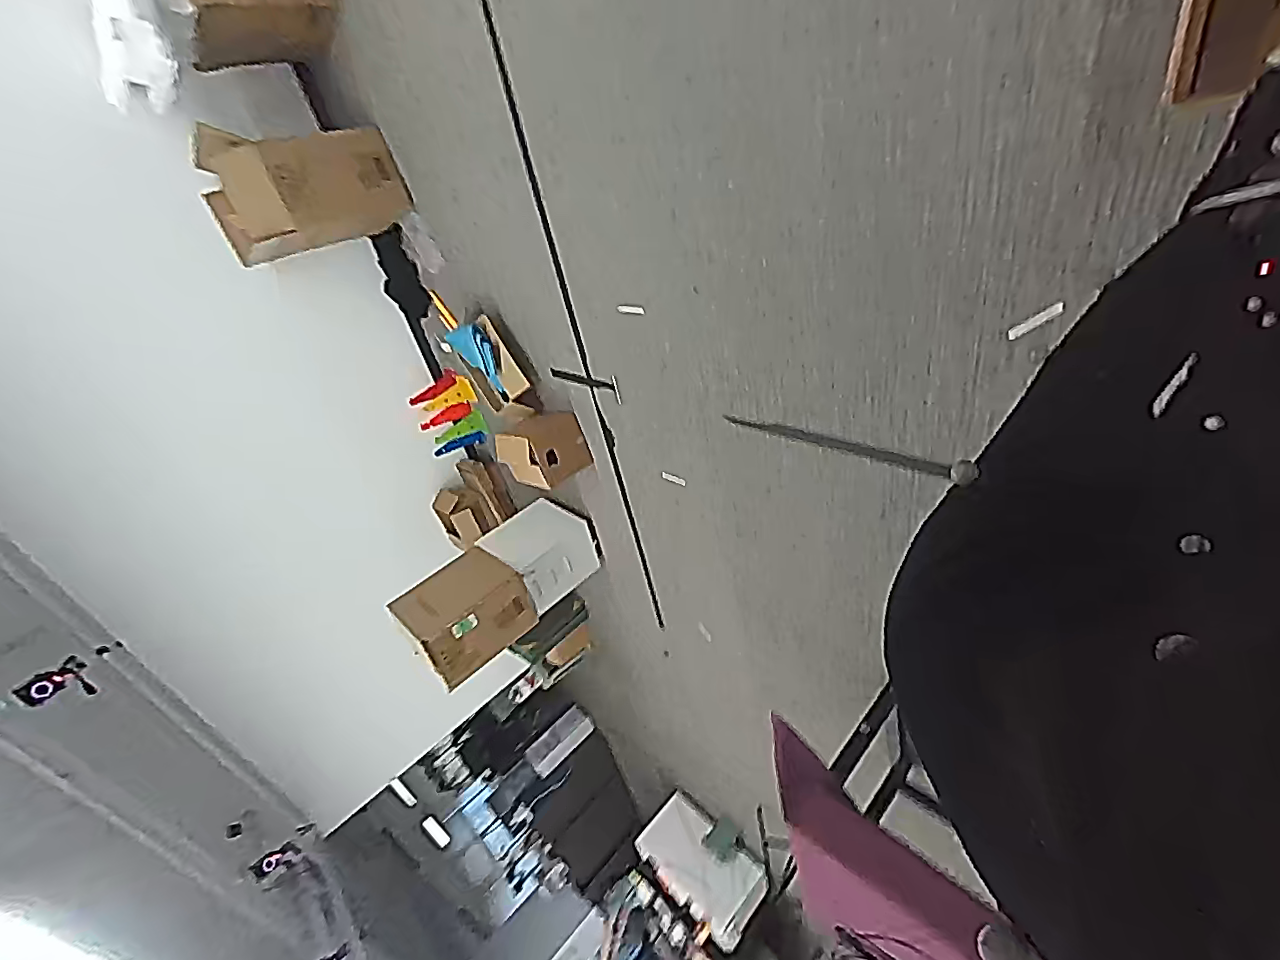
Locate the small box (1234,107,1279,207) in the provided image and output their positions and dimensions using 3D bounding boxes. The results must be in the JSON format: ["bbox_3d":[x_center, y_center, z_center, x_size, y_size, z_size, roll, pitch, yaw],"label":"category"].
[{"bbox_3d":[0.676,-0.340,0.447,0.168,0.179,0.176,36,174,24],"label":"small box"}]
